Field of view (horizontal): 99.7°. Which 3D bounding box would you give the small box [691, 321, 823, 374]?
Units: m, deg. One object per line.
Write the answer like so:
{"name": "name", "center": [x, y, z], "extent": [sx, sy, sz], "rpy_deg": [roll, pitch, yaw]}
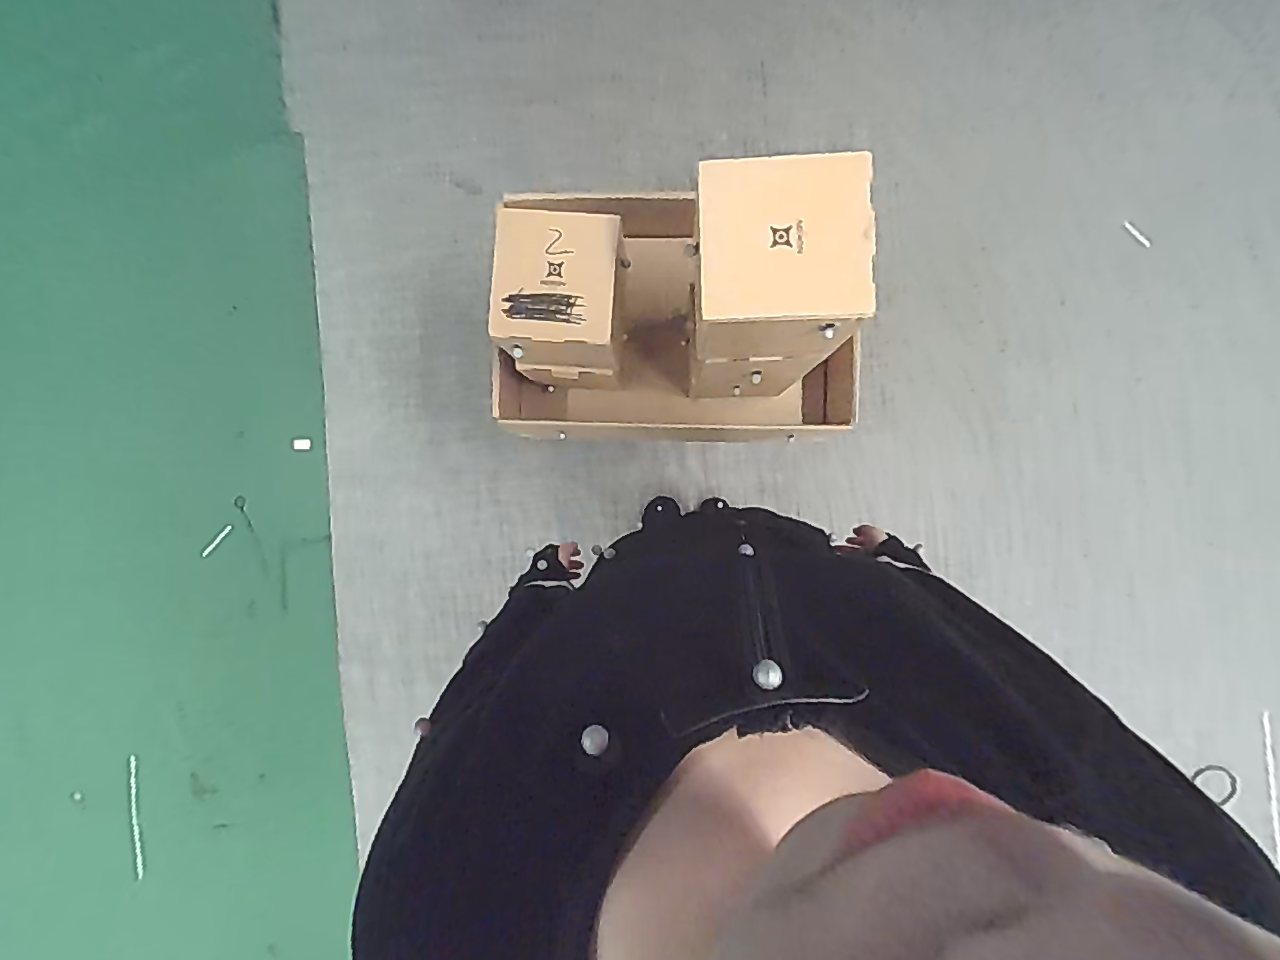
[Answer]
{"name": "small box", "center": [0.162, -0.253, 0.788], "extent": [0.168, 0.176, 0.179], "rpy_deg": [-2, 91, 3]}

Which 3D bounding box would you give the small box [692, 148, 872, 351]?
{"name": "small box", "center": [0.149, -0.250, 0.625], "extent": [0.179, 0.176, 0.168], "rpy_deg": [-1, 90, 2]}
